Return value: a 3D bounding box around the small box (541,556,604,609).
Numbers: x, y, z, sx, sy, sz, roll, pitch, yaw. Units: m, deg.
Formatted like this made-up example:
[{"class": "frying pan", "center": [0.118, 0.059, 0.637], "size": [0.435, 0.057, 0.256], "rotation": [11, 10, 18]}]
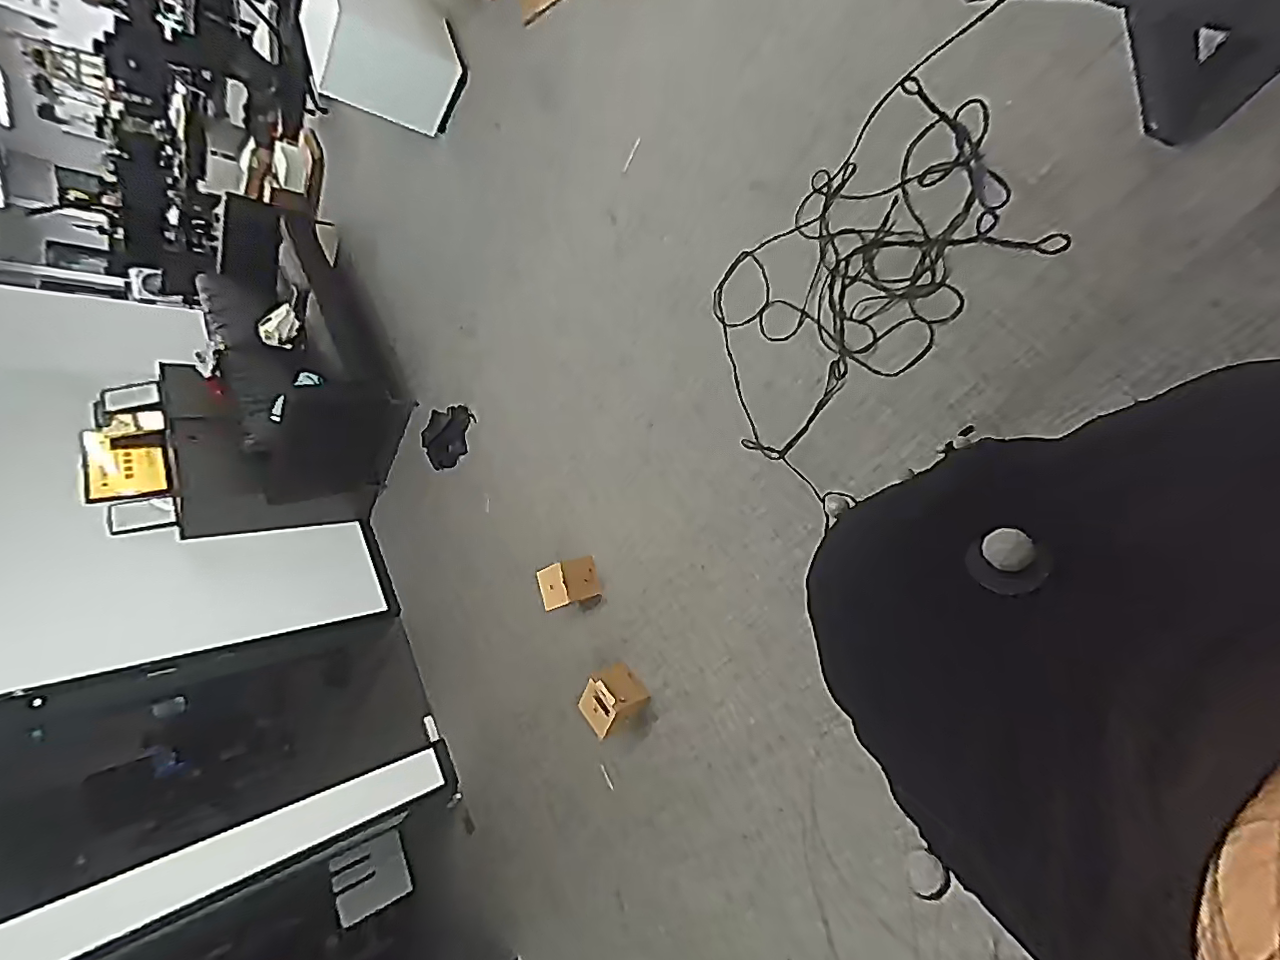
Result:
[{"class": "small box", "center": [-0.273, 0.418, 2.210], "size": [0.179, 0.176, 0.168], "rotation": [-30, 71, 43]}]
